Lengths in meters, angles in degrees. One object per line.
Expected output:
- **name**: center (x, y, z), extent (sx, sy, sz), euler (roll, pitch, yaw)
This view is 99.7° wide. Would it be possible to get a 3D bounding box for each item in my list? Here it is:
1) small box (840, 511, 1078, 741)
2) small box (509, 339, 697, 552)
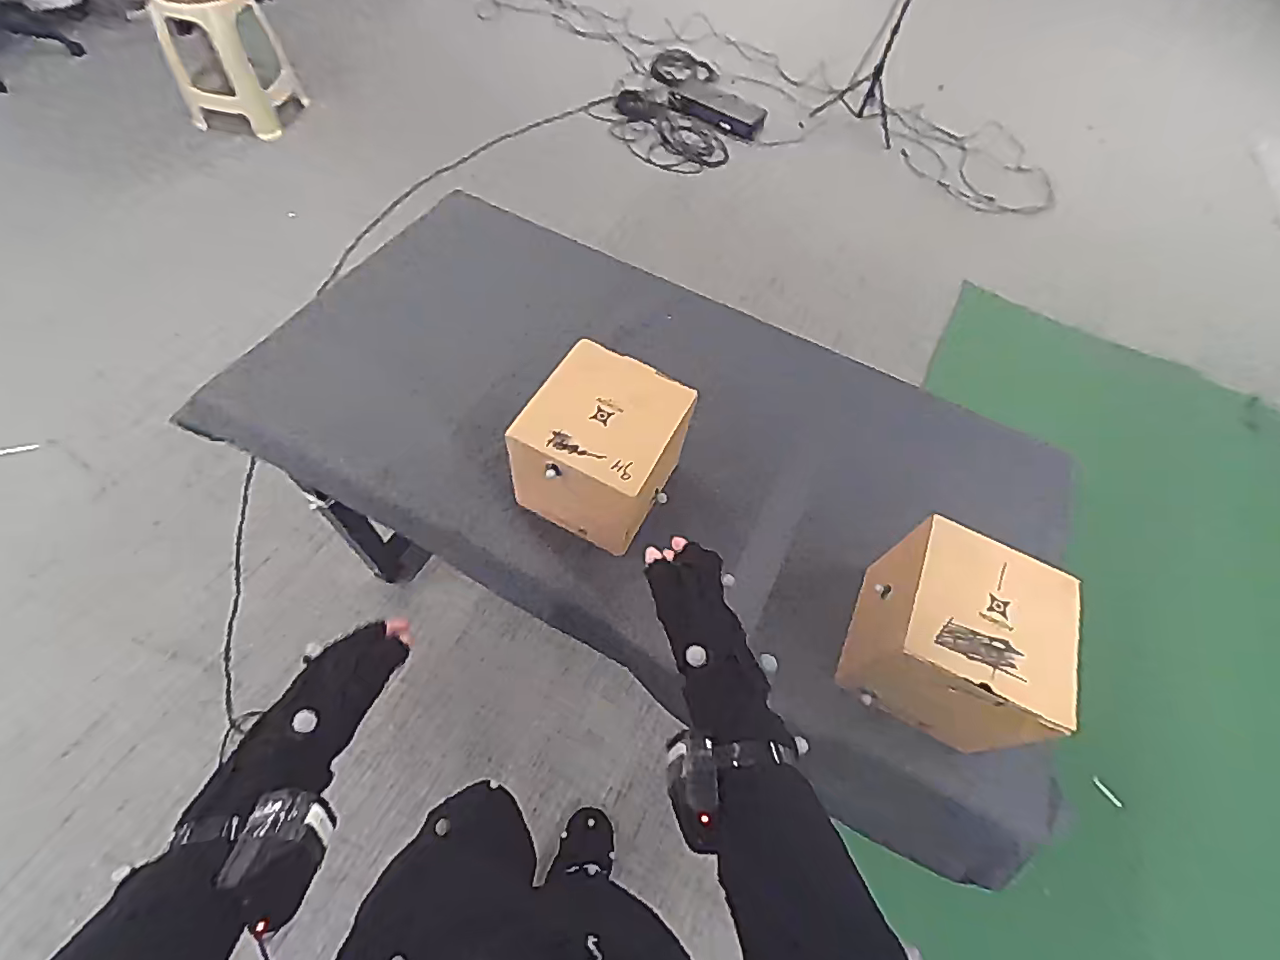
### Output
- **small box**: center (0.353, 0.174, 0.621), extent (0.168, 0.176, 0.179), euler (26, 58, 9)
- **small box**: center (-0.048, -0.040, 0.696), extent (0.168, 0.176, 0.179), euler (26, 59, 8)
